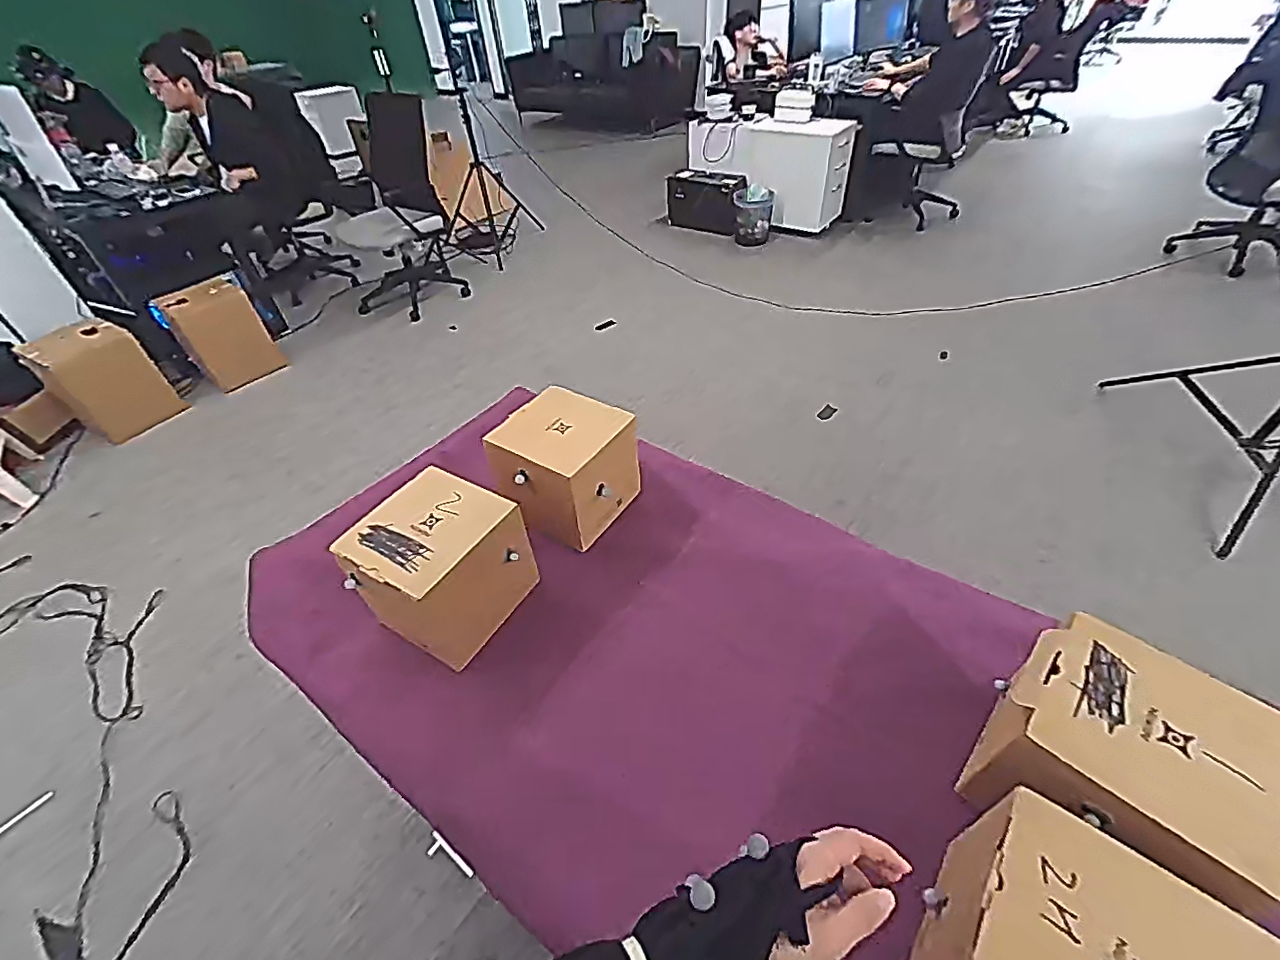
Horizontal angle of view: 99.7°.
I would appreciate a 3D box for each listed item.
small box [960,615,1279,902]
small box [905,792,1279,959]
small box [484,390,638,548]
[{"bbox_3d":[0.449,0.274,0.523,0.179,0.176,0.168,32,56,31],"label":"small box"},{"bbox_3d":[0.328,0.390,0.412,0.179,0.176,0.168,27,50,30],"label":"small box"},{"bbox_3d":[-0.116,-0.015,0.879,0.179,0.176,0.168,23,50,26],"label":"small box"}]
